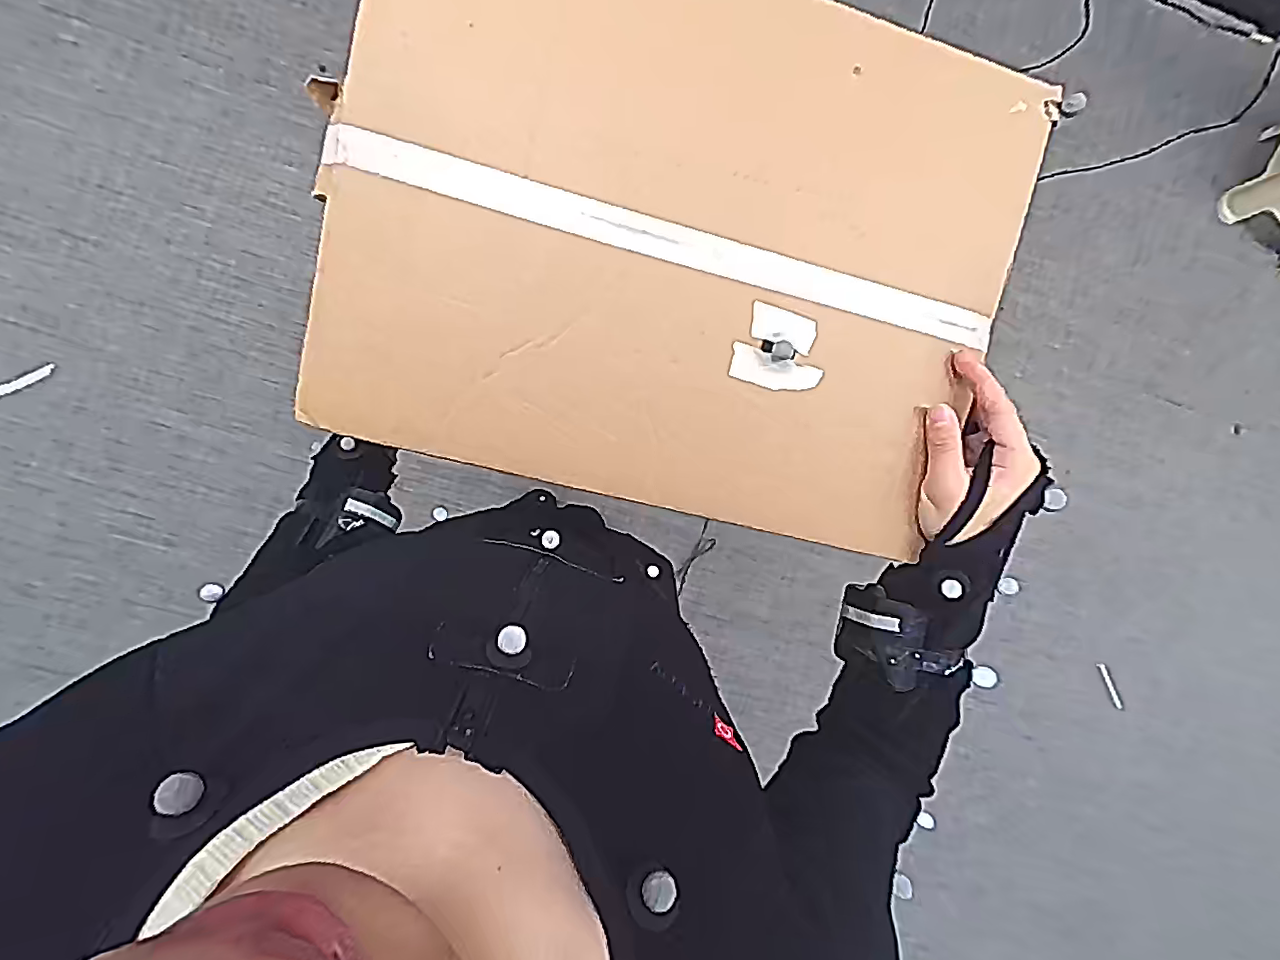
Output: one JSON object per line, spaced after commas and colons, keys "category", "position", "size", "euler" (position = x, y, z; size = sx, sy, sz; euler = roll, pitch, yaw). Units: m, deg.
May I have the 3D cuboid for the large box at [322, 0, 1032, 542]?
{"category": "large box", "position": [0.012, -0.161, 0.482], "size": [0.408, 0.320, 0.320], "euler": [13, 97, -9]}
